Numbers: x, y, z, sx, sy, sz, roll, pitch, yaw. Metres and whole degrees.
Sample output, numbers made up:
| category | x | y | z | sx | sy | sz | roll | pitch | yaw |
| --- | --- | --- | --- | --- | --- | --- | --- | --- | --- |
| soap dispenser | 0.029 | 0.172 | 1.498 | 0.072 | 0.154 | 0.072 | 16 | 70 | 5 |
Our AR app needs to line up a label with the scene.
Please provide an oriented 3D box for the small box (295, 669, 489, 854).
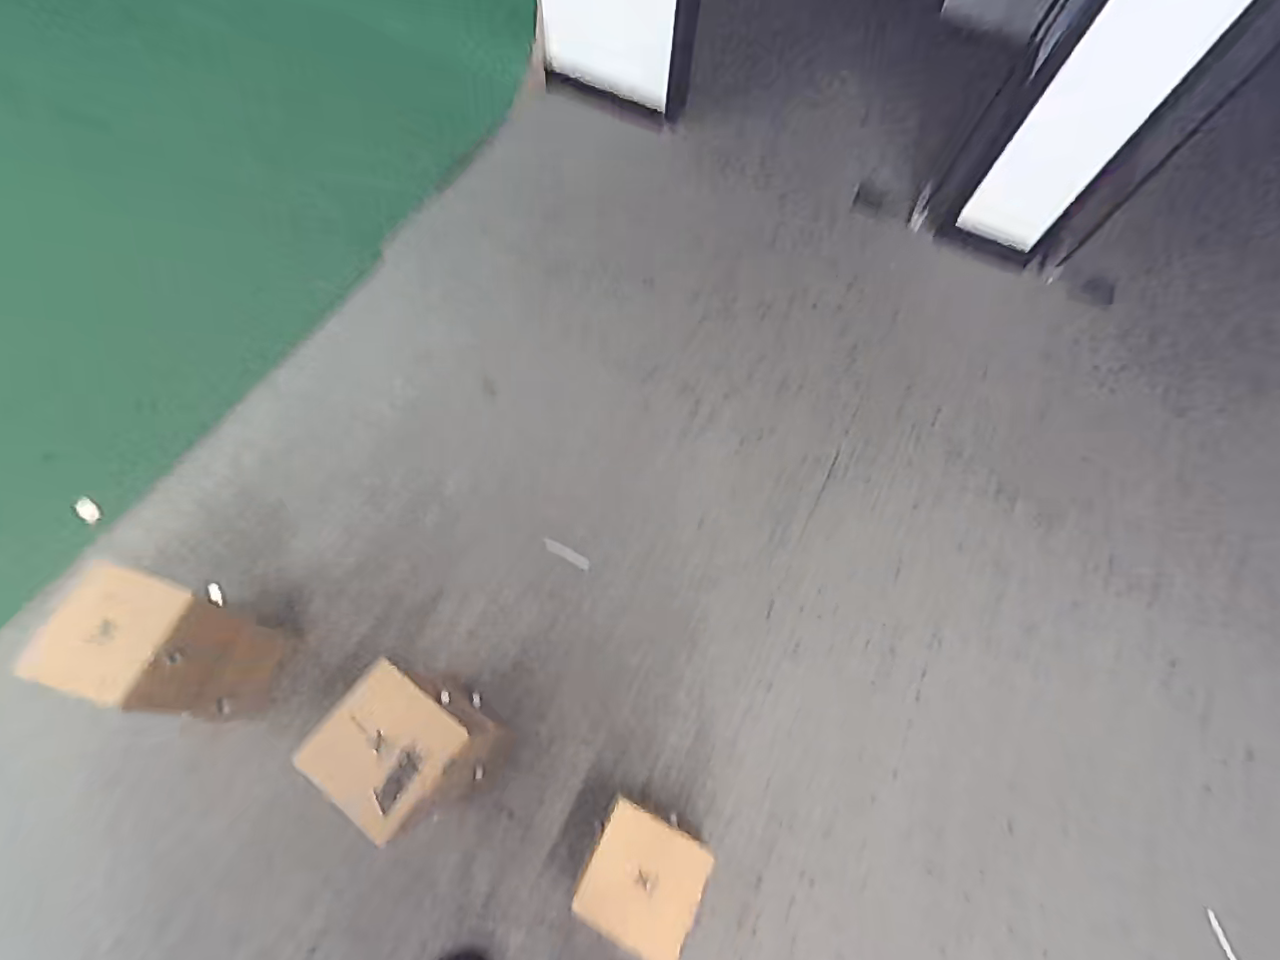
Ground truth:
| category | x | y | z | sx | sy | sz | roll | pitch | yaw |
| --- | --- | --- | --- | --- | --- | --- | --- | --- | --- |
| small box | -0.355 | 0.411 | 0.814 | 0.179 | 0.176 | 0.168 | 34 | 67 | 13 |

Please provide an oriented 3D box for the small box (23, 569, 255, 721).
| category | x | y | z | sx | sy | sz | roll | pitch | yaw |
| --- | --- | --- | --- | --- | --- | --- | --- | --- | --- |
| small box | -0.767 | 0.268 | 0.856 | 0.168 | 0.176 | 0.179 | 18 | 64 | 4 |

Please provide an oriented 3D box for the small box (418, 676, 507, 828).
| category | x | y | z | sx | sy | sz | roll | pitch | yaw |
| --- | --- | --- | --- | --- | --- | --- | --- | --- | --- |
| small box | -0.361 | 0.476 | 0.966 | 0.179 | 0.176 | 0.168 | 34 | 66 | 11 |

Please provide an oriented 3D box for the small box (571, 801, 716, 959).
| category | x | y | z | sx | sy | sz | roll | pitch | yaw |
| --- | --- | --- | --- | --- | --- | --- | --- | --- | --- |
| small box | 0.001 | 0.664 | 0.904 | 0.179 | 0.176 | 0.168 | 27 | 66 | 8 |
